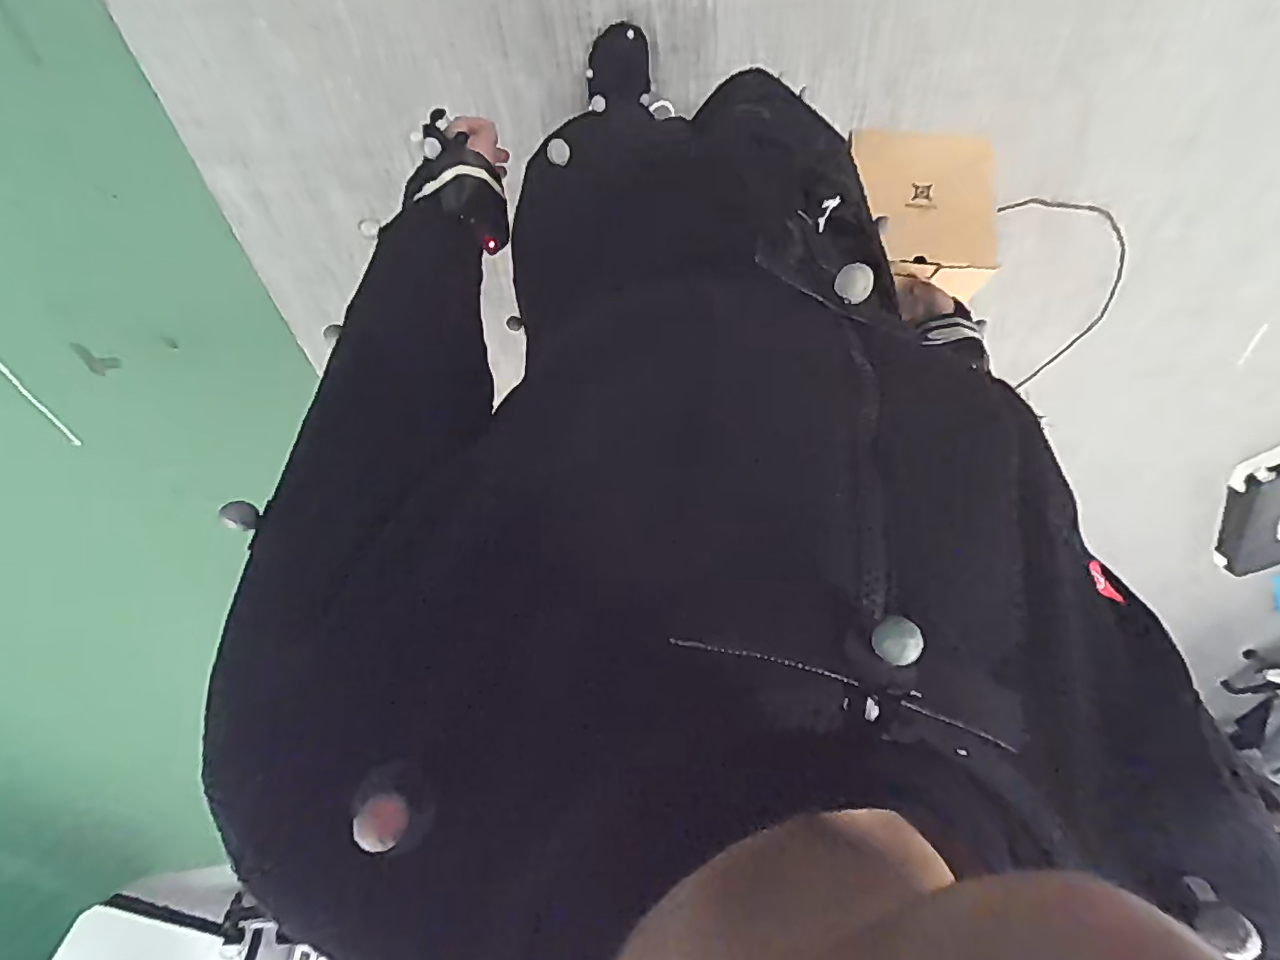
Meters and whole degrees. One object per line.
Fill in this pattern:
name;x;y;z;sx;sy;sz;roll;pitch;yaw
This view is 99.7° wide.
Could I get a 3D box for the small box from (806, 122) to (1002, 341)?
small box;0.313;-0.298;0.673;0.168;0.179;0.176;6;167;2
